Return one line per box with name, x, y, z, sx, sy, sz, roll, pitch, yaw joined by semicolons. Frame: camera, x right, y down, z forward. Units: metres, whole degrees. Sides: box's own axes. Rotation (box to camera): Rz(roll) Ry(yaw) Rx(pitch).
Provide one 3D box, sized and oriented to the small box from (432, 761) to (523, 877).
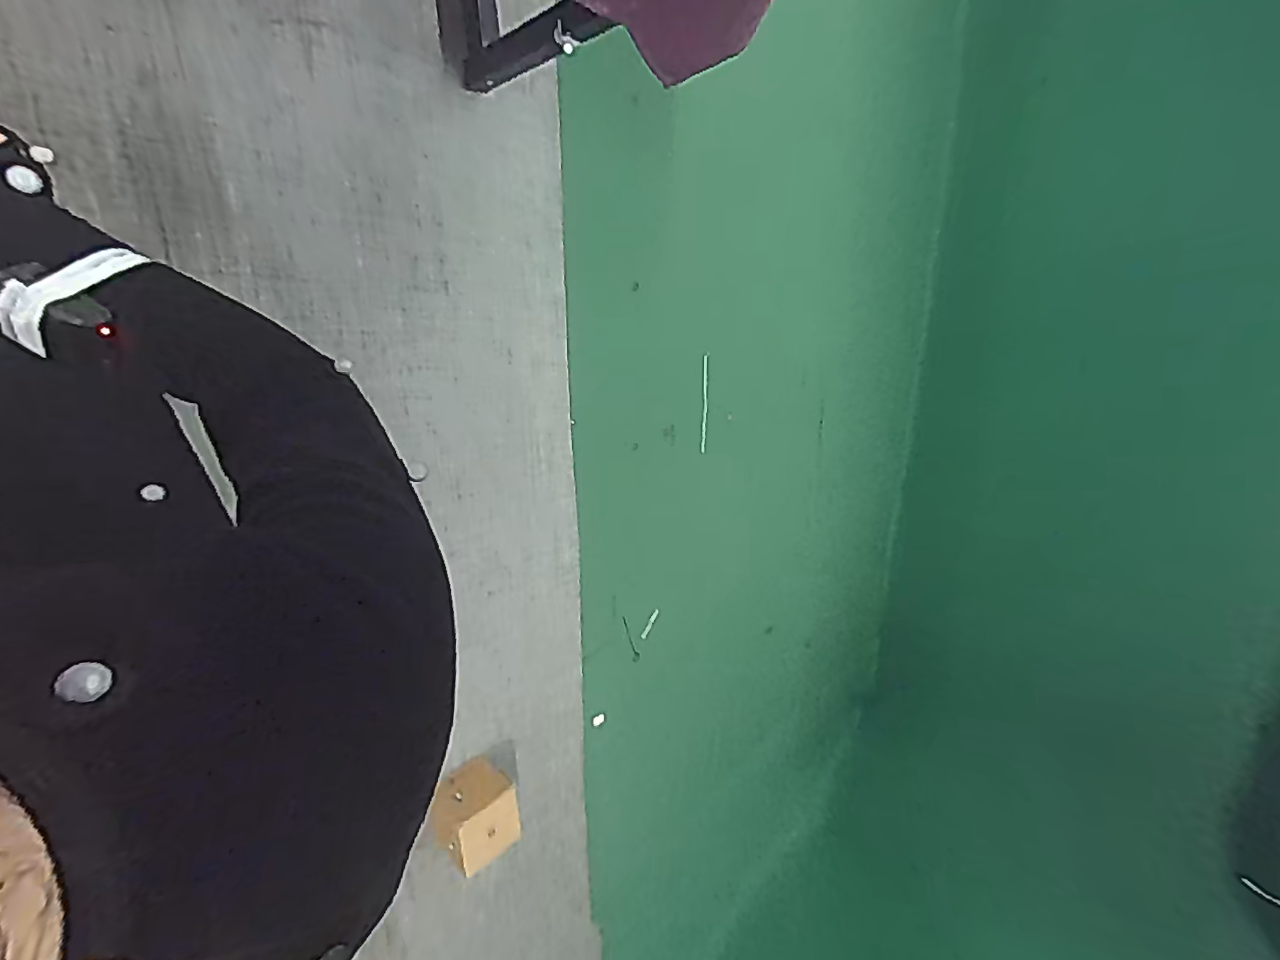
small box;-0.435;0.887;1.442;0.168;0.176;0.179;-19;115;-44
